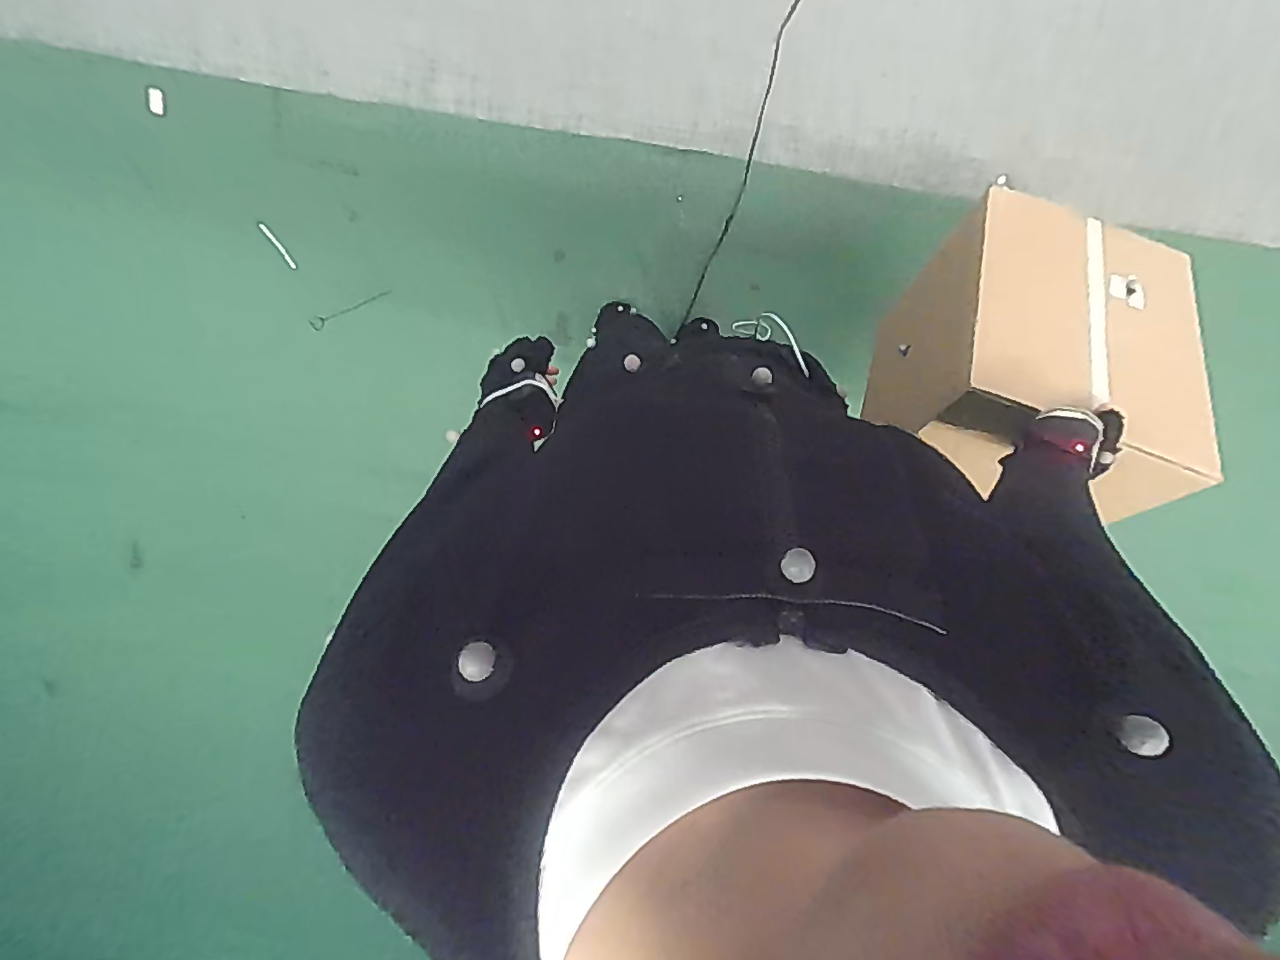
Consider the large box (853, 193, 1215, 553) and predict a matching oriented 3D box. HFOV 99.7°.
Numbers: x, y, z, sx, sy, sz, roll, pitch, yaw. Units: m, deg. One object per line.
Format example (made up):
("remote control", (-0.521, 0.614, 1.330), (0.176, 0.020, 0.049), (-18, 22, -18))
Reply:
("large box", (0.577, -0.153, 0.857), (0.320, 0.320, 0.408), (22, 64, 1))
